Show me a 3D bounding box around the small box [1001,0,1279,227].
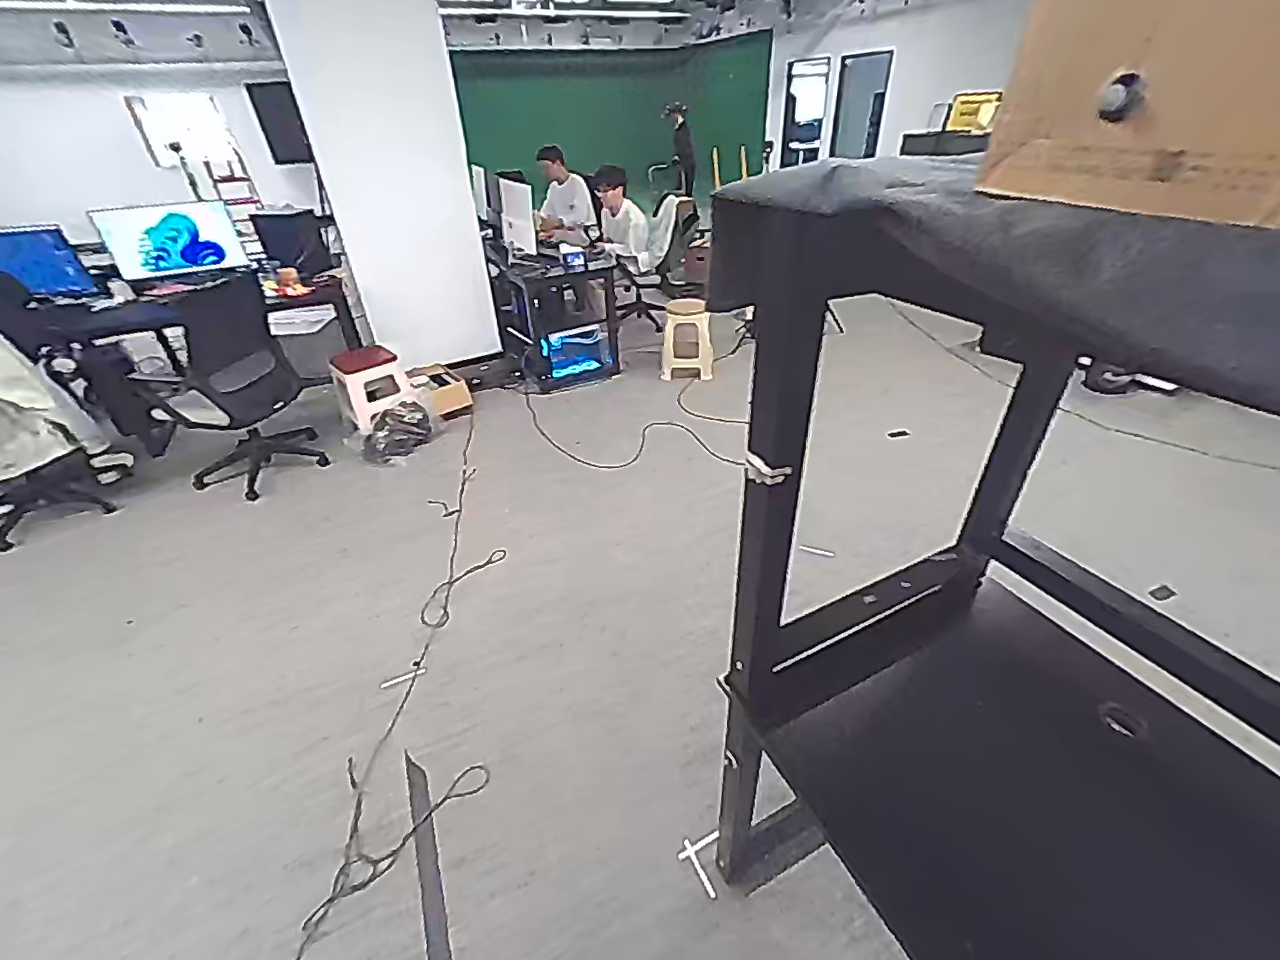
[{"bbox_3d":[0.343,-0.246,0.291,0.179,0.176,0.168,-17,38,-21],"label":"small box"}]
